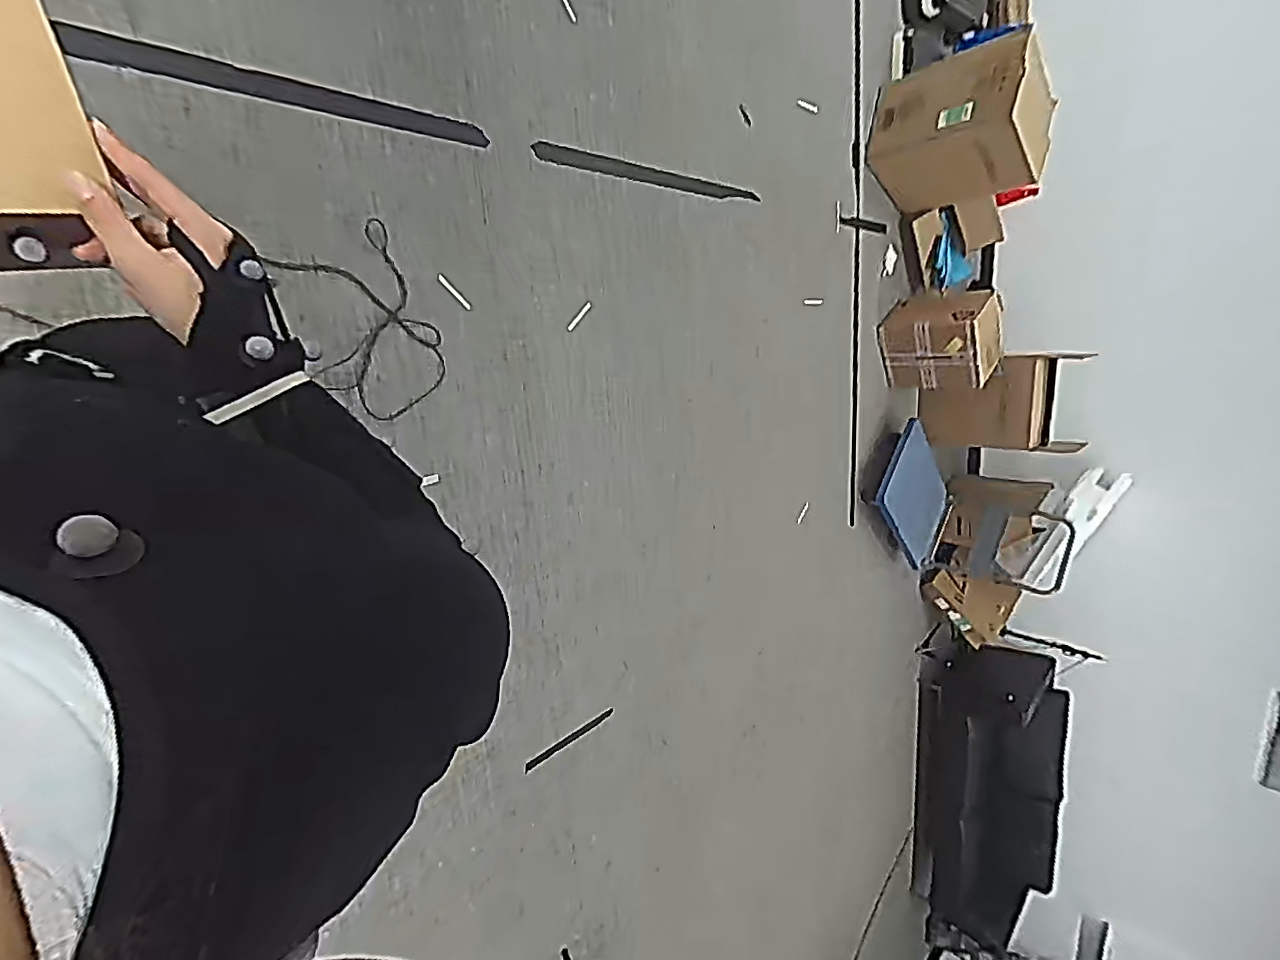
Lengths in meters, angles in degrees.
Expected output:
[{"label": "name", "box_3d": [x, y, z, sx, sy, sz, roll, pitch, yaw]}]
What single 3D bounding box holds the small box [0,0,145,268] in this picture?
[{"label": "small box", "box_3d": [-0.426, -0.220, 0.302, 0.179, 0.176, 0.168, -23, 111, -41]}]
